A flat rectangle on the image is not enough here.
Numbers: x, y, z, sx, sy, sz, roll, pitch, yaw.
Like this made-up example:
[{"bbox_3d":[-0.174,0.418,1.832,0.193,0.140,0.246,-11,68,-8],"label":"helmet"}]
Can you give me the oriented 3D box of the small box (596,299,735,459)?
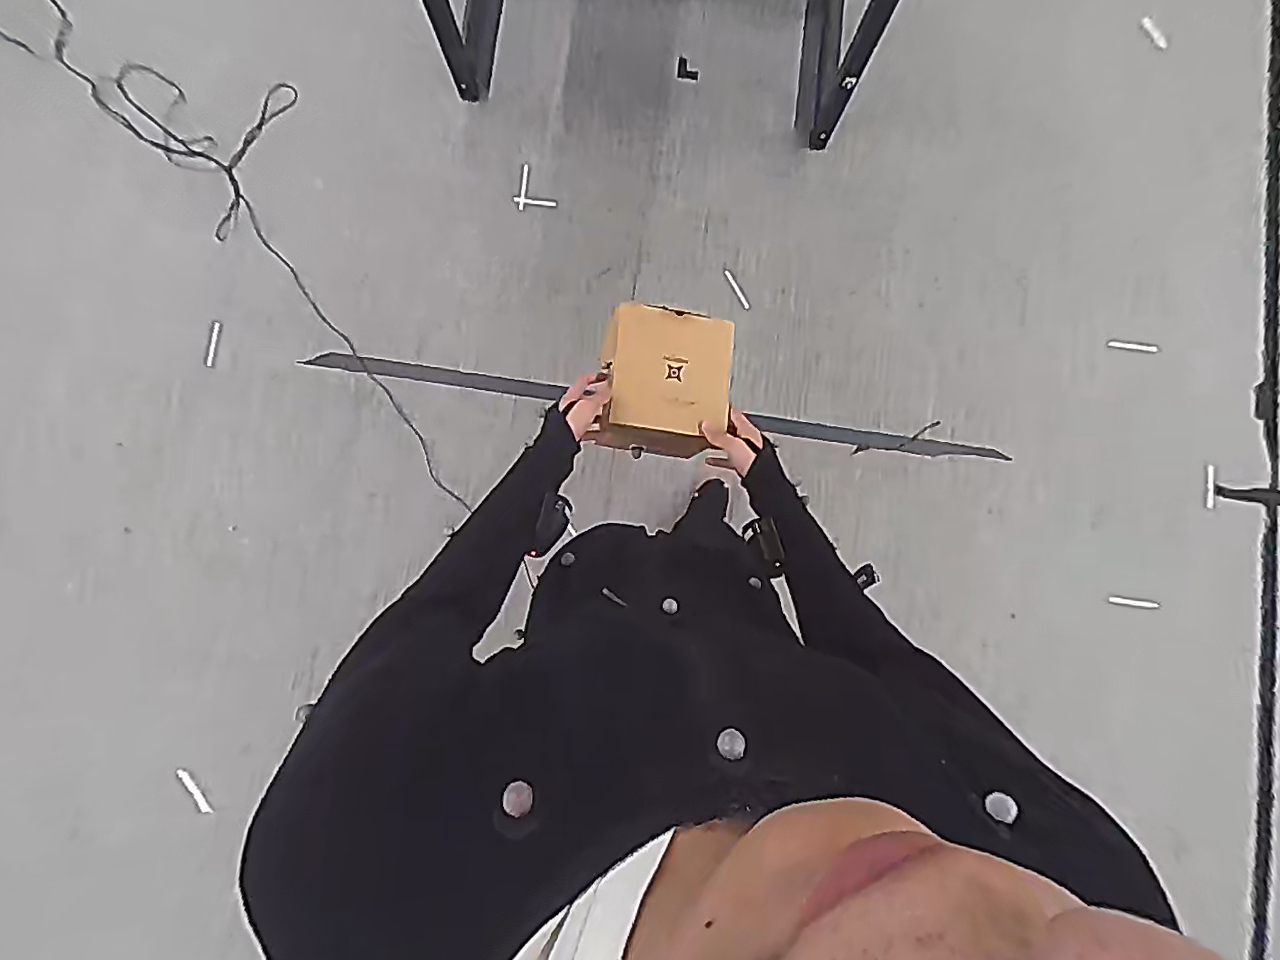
[{"bbox_3d":[0.031,-0.139,0.810,0.168,0.176,0.179,7,80,-11],"label":"small box"}]
